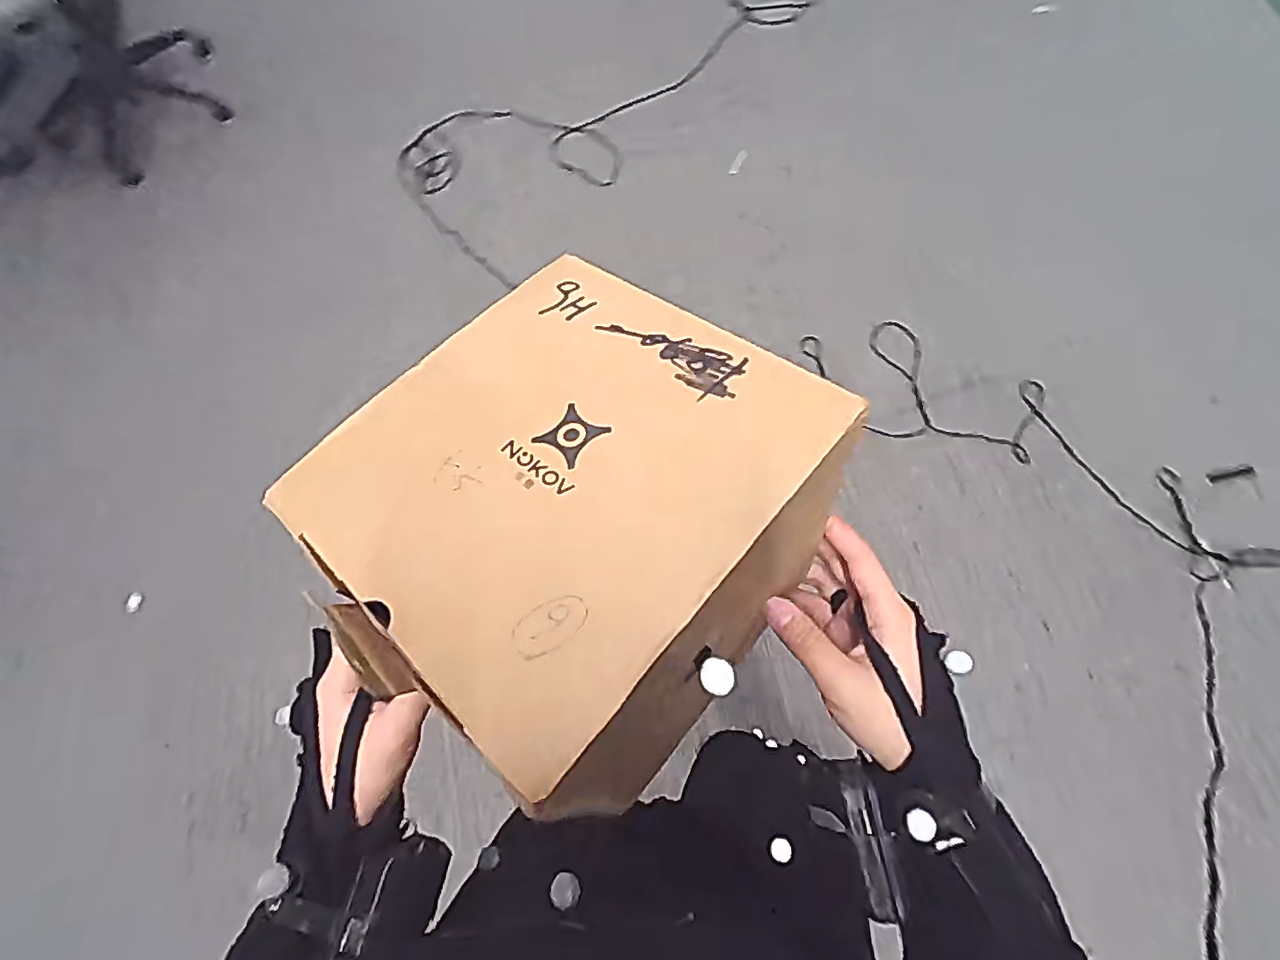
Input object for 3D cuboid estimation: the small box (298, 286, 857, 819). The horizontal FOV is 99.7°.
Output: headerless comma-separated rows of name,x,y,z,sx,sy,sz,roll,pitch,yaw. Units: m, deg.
small box,-0.018,0.042,0.284,0.168,0.176,0.179,36,69,25
